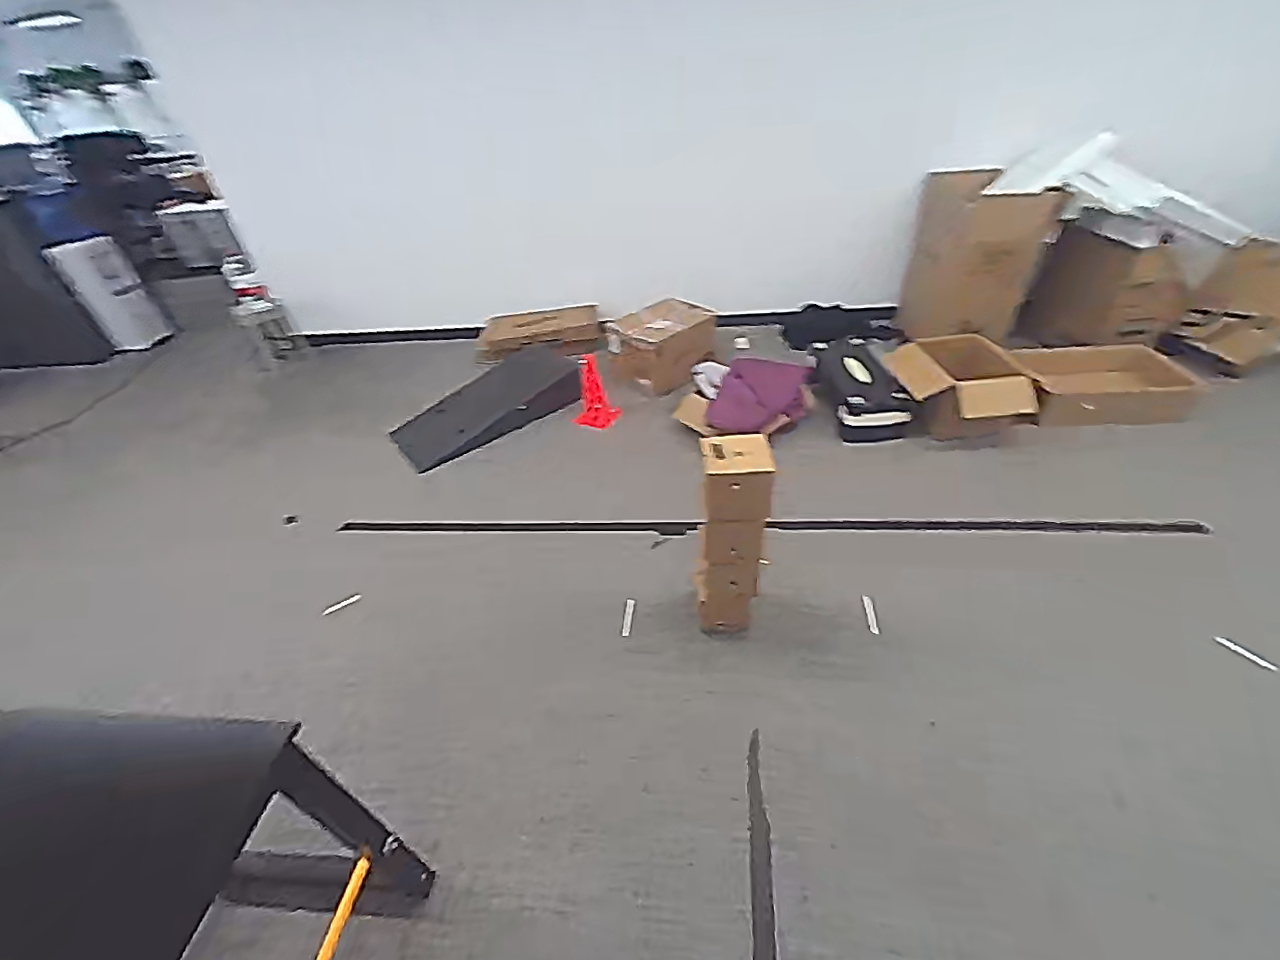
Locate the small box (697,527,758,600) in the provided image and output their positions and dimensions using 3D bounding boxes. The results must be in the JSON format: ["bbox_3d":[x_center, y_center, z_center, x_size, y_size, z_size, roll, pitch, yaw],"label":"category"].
[{"bbox_3d":[0.271,0.259,1.683,0.168,0.176,0.179,-5,39,3],"label":"small box"}]

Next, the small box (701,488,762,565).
[{"bbox_3d":[0.263,0.128,1.581,0.168,0.176,0.179,-3,39,7],"label":"small box"}]

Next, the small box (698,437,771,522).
[{"bbox_3d":[0.256,0.000,1.478,0.179,0.176,0.168,-4,39,3],"label":"small box"}]

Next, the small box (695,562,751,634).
[{"bbox_3d":[0.269,0.386,1.788,0.168,0.176,0.179,-5,40,4],"label":"small box"}]
